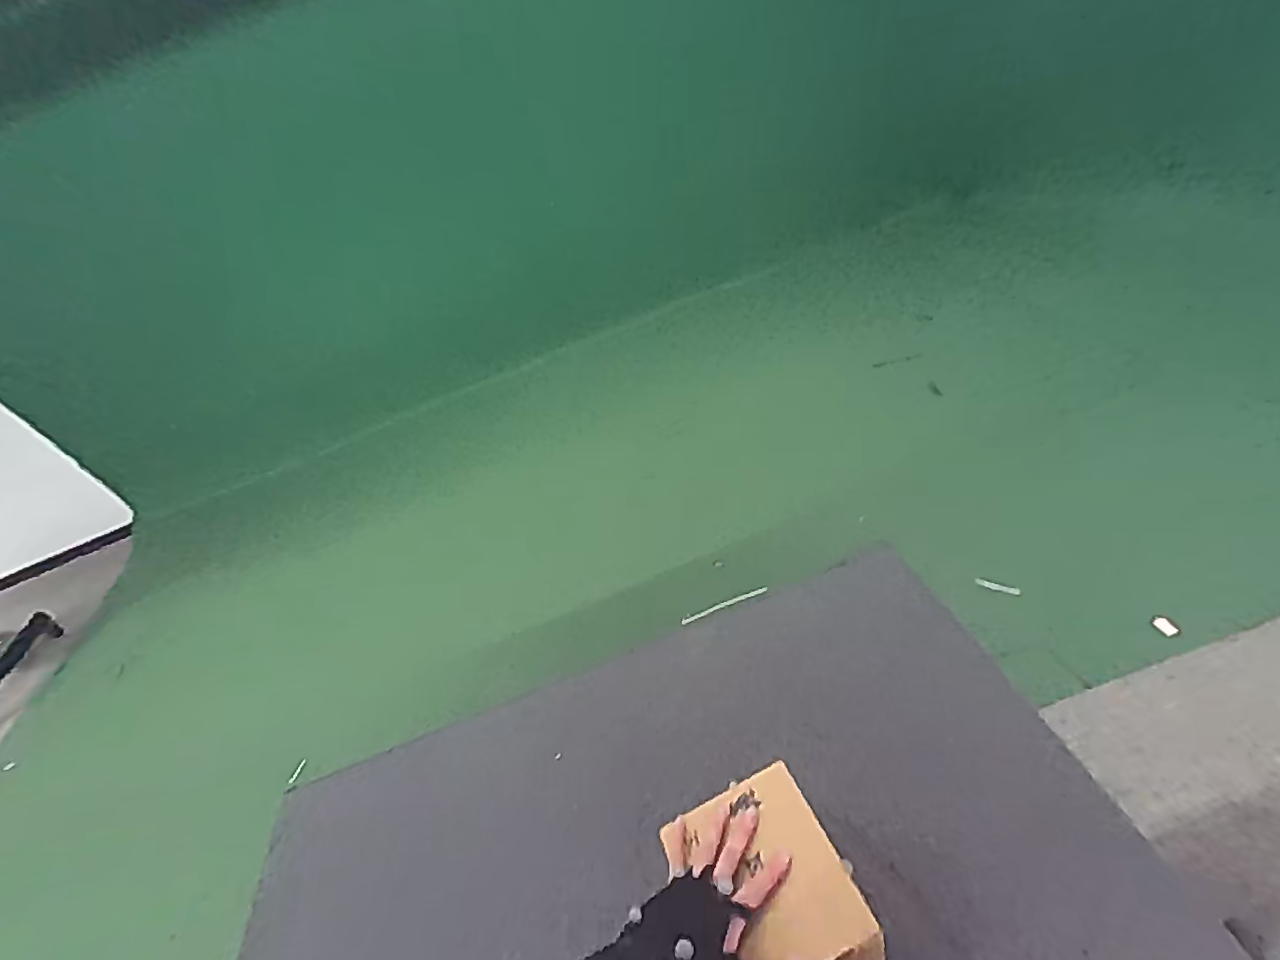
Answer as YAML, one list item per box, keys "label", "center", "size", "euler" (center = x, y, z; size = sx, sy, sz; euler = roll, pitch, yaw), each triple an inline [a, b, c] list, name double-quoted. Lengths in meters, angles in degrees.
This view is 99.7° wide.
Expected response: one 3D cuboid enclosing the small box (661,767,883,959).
- label: "small box"
  center: [0.146, 0.468, 0.601]
  size: [0.168, 0.176, 0.179]
  euler: [-26, 39, -6]
